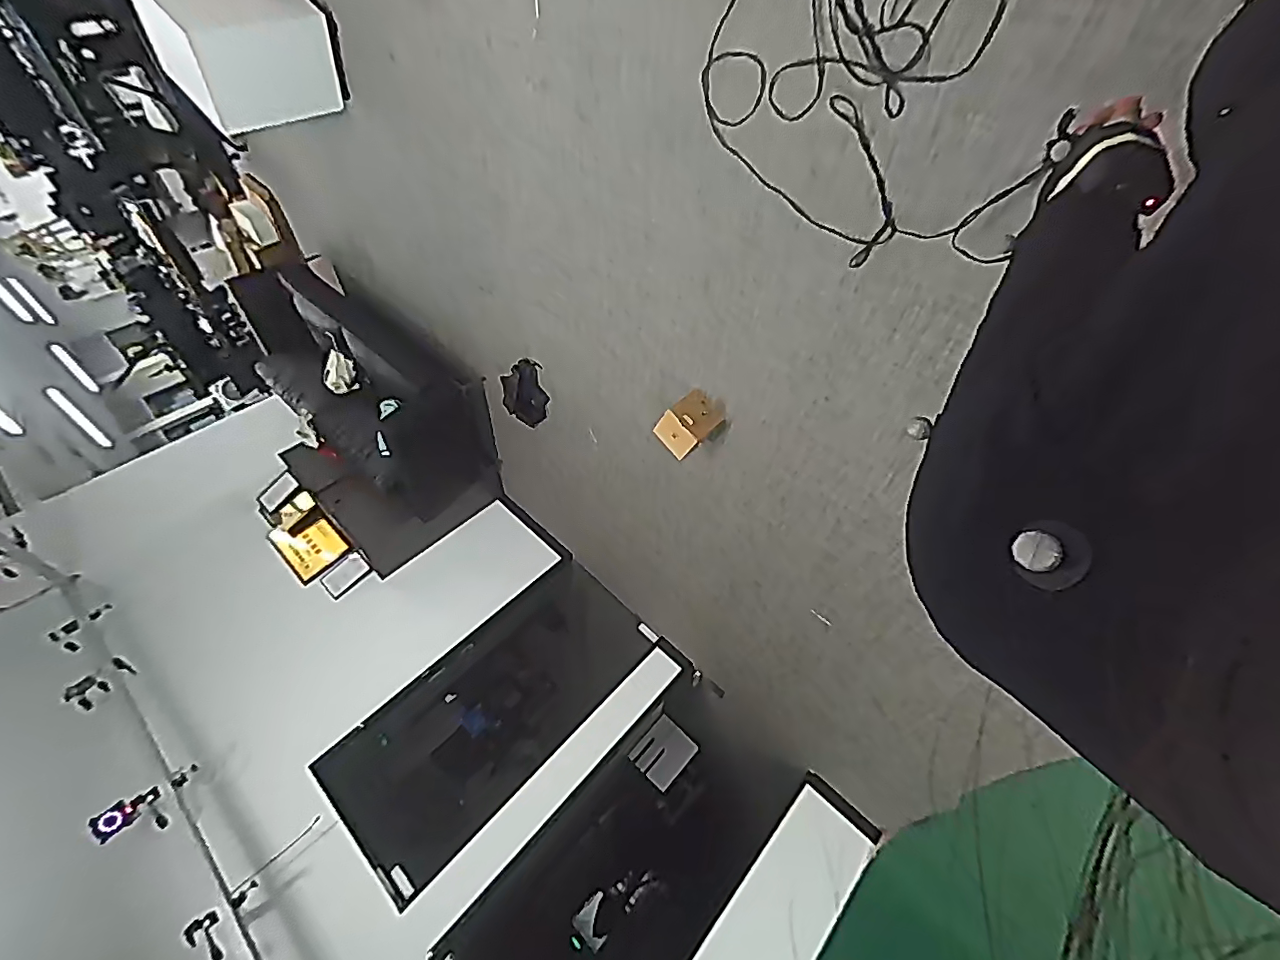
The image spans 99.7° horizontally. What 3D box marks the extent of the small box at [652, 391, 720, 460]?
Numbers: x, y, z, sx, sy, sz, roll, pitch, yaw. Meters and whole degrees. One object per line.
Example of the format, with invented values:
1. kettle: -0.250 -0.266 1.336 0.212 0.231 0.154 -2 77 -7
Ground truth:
1. small box: 0.180 -0.211 2.084 0.168 0.176 0.179 49 150 6
